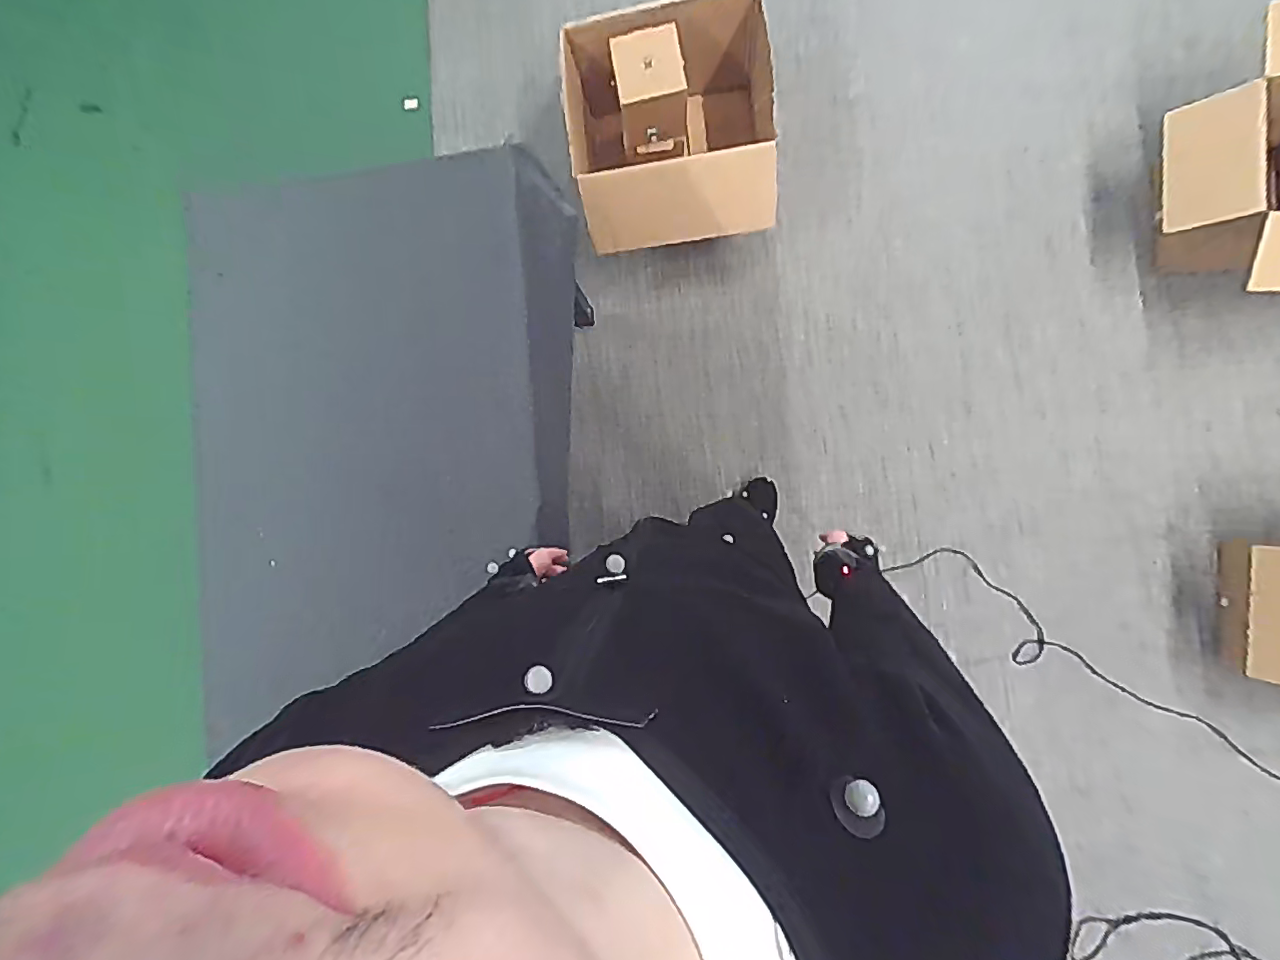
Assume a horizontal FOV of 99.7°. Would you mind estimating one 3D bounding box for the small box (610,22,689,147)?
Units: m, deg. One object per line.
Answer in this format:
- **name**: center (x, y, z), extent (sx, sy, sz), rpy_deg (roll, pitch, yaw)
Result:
- **small box**: center (0.026, -0.991, 1.368), extent (0.168, 0.176, 0.179), rpy_deg (-11, 87, 4)
